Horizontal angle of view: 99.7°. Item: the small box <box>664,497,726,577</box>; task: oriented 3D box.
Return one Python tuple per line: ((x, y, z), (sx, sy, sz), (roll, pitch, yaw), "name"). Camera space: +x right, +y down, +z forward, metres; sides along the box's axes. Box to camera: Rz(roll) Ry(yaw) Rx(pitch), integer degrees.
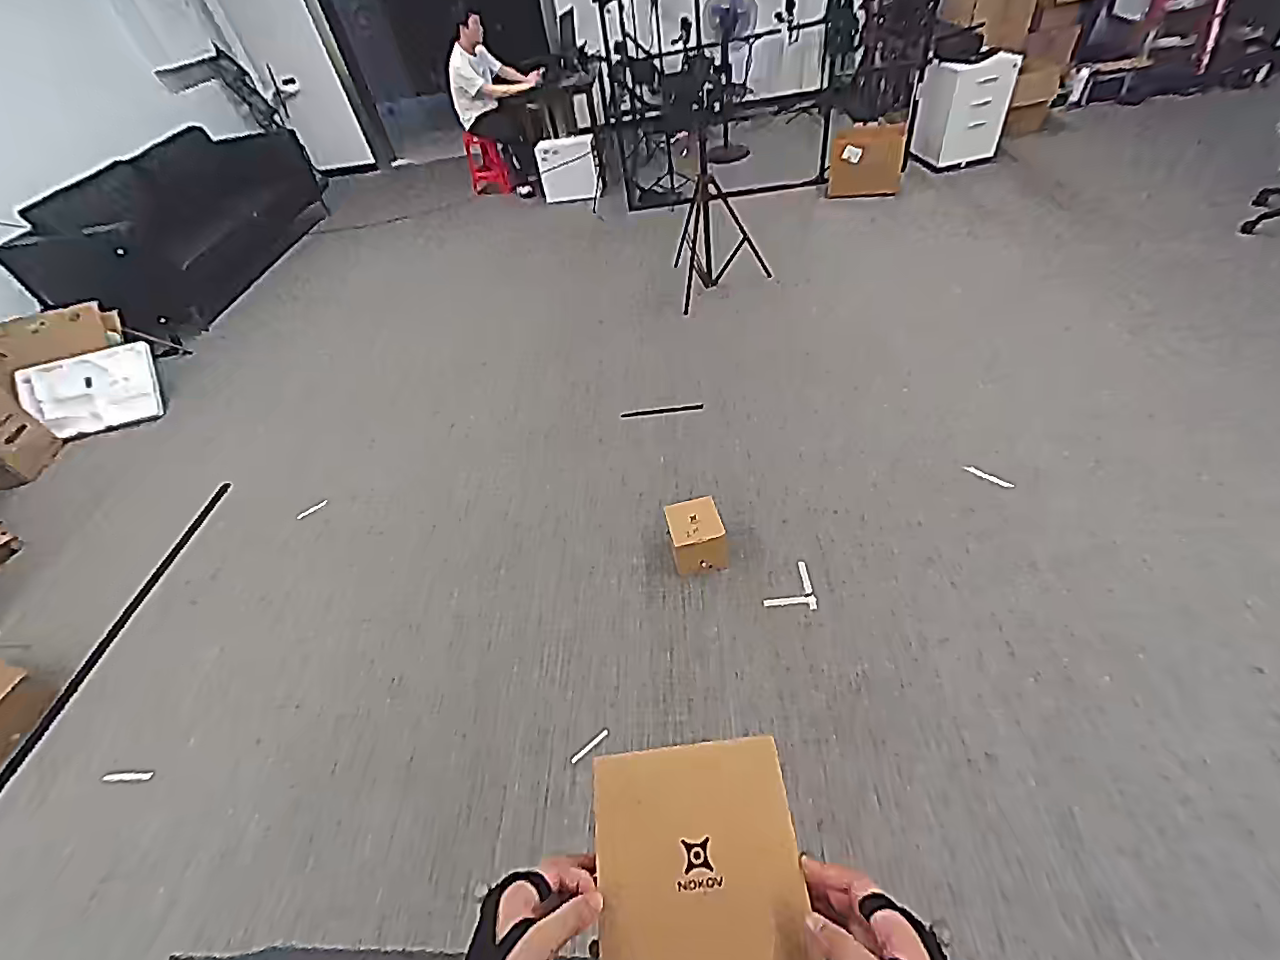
((0.180, 0.188, 1.773), (0.168, 0.176, 0.179), (-14, 45, -2), "small box")
